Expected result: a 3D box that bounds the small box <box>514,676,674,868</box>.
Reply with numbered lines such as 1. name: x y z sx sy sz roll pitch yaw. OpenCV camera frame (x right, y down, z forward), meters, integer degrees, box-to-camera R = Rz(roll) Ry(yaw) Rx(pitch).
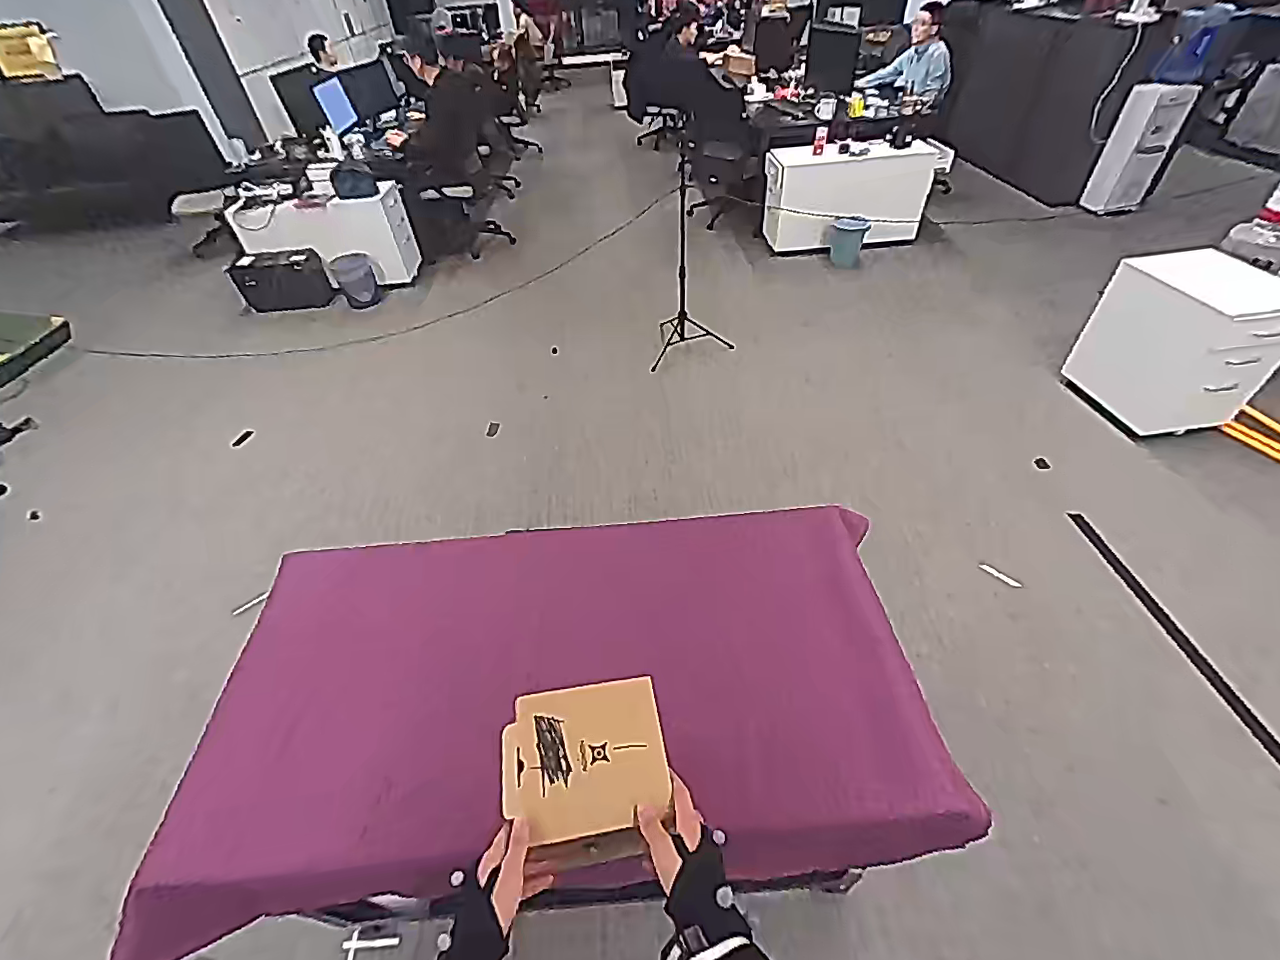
1. small box: -0.062 0.377 0.696 0.179 0.176 0.168 -5 47 -9
